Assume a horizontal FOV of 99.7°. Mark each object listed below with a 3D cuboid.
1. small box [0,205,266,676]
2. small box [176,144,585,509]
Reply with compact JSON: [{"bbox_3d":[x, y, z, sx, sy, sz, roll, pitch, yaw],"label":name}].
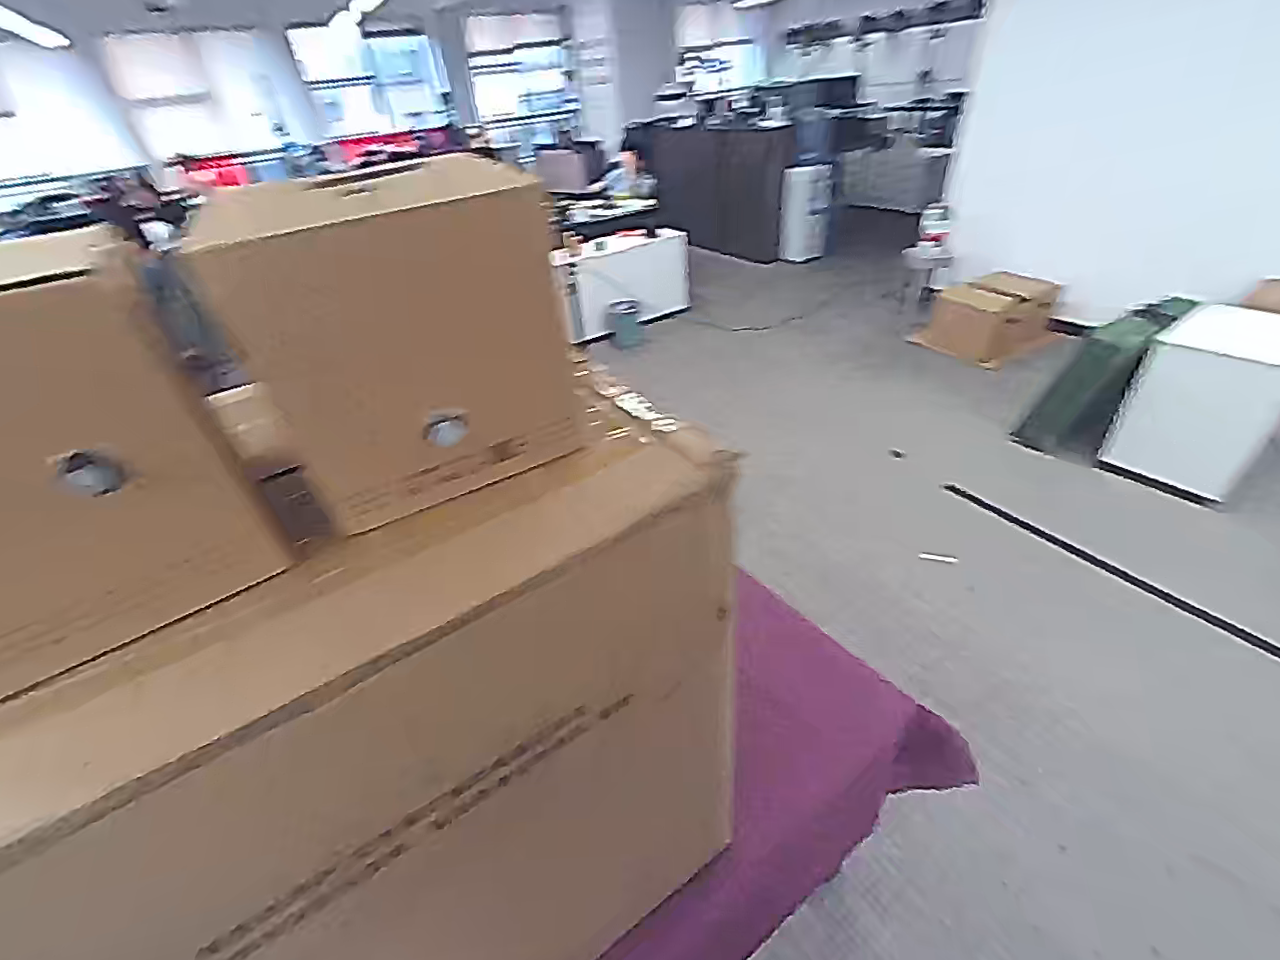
[{"bbox_3d":[-0.316,-0.022,0.264,0.179,0.176,0.168,-29,41,-29],"label":"small box"},{"bbox_3d":[-0.152,-0.110,0.357,0.168,0.176,0.179,-23,40,-20],"label":"small box"}]
